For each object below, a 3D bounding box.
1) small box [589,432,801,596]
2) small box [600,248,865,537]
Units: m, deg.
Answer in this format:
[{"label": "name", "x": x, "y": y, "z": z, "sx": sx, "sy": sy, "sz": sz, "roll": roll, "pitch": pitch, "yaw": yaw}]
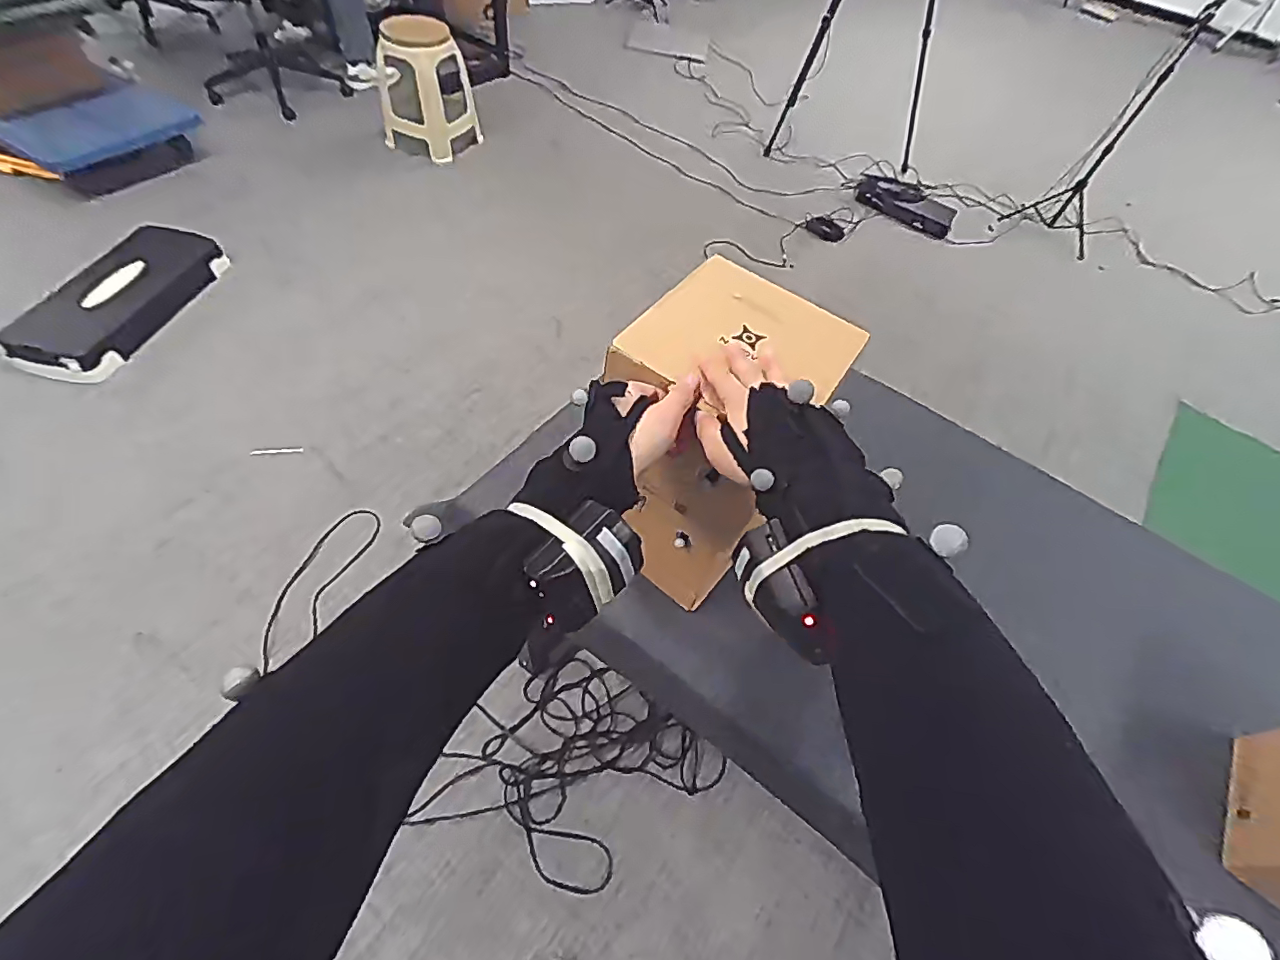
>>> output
[{"label": "small box", "x": 0.054, "y": 0.007, "z": 0.650, "sx": 0.179, "sy": 0.176, "sz": 0.168, "roll": 37, "pitch": 58, "yaw": 16}, {"label": "small box", "x": 0.074, "y": -0.077, "z": 0.513, "sx": 0.168, "sy": 0.176, "sz": 0.179, "roll": 34, "pitch": 57, "yaw": 12}]
